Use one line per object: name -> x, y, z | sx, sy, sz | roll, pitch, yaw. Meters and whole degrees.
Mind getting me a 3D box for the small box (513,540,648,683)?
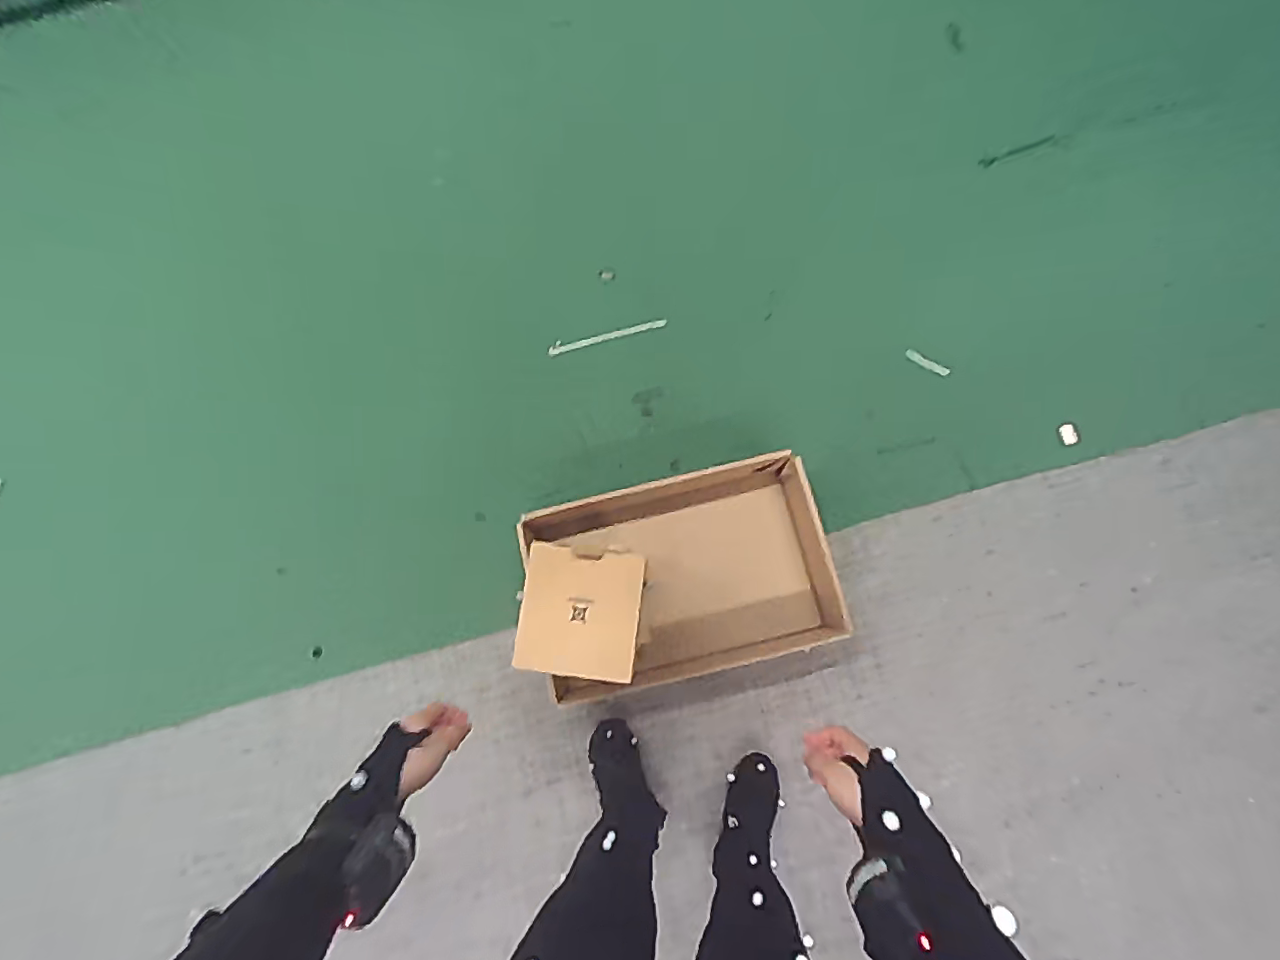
small box -> -0.079, 0.195, 0.819 | 0.168, 0.176, 0.179 | 7, 77, 2
